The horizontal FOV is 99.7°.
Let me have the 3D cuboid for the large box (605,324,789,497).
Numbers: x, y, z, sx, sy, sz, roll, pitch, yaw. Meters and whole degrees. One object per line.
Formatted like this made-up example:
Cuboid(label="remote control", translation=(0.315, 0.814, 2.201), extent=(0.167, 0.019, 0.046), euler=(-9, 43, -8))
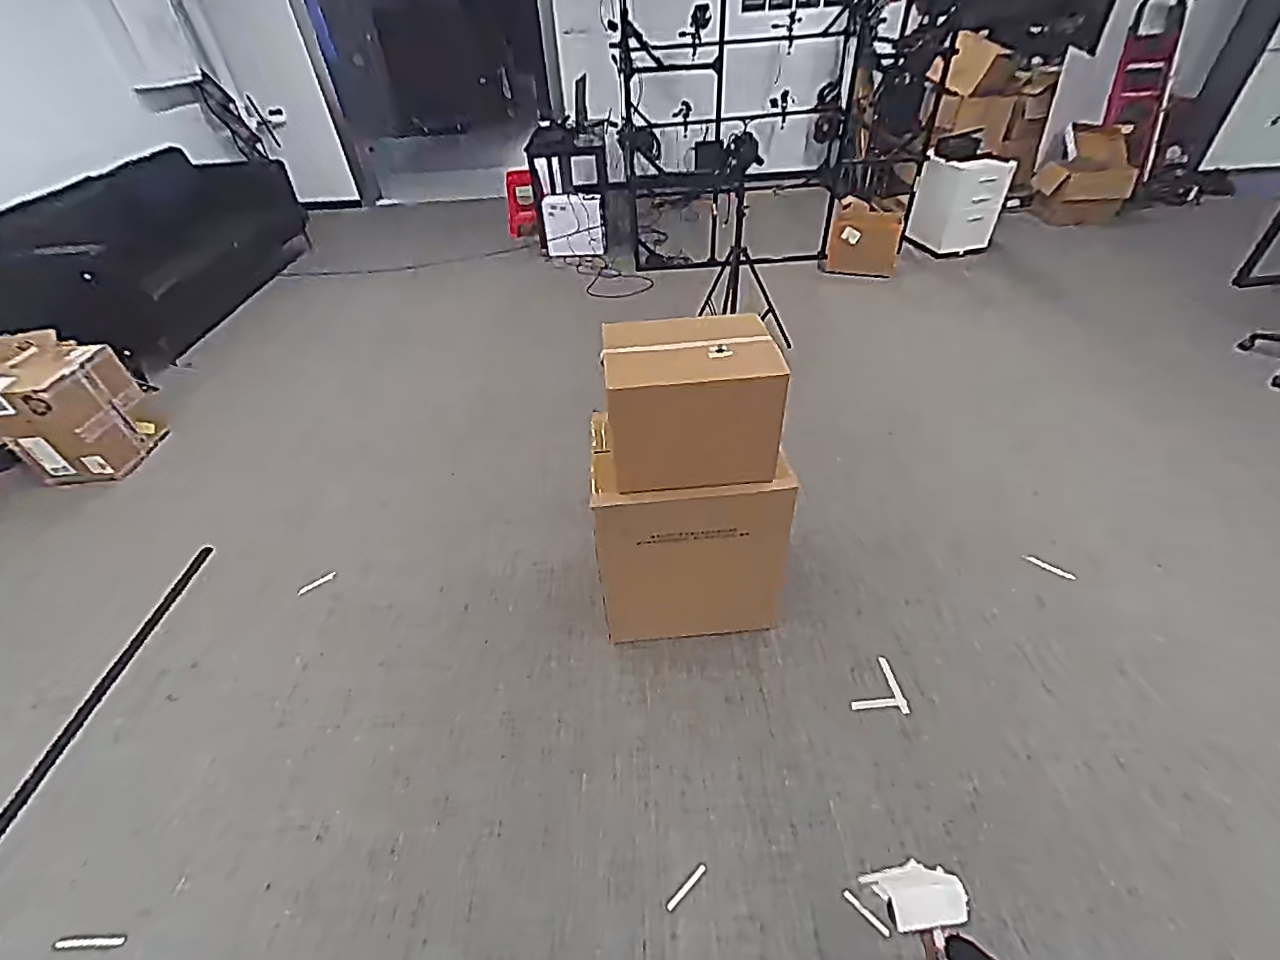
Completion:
Cuboid(label="large box", translation=(0.125, -0.182, 1.391), extent=(0.408, 0.320, 0.320), euler=(-5, 42, -2))
